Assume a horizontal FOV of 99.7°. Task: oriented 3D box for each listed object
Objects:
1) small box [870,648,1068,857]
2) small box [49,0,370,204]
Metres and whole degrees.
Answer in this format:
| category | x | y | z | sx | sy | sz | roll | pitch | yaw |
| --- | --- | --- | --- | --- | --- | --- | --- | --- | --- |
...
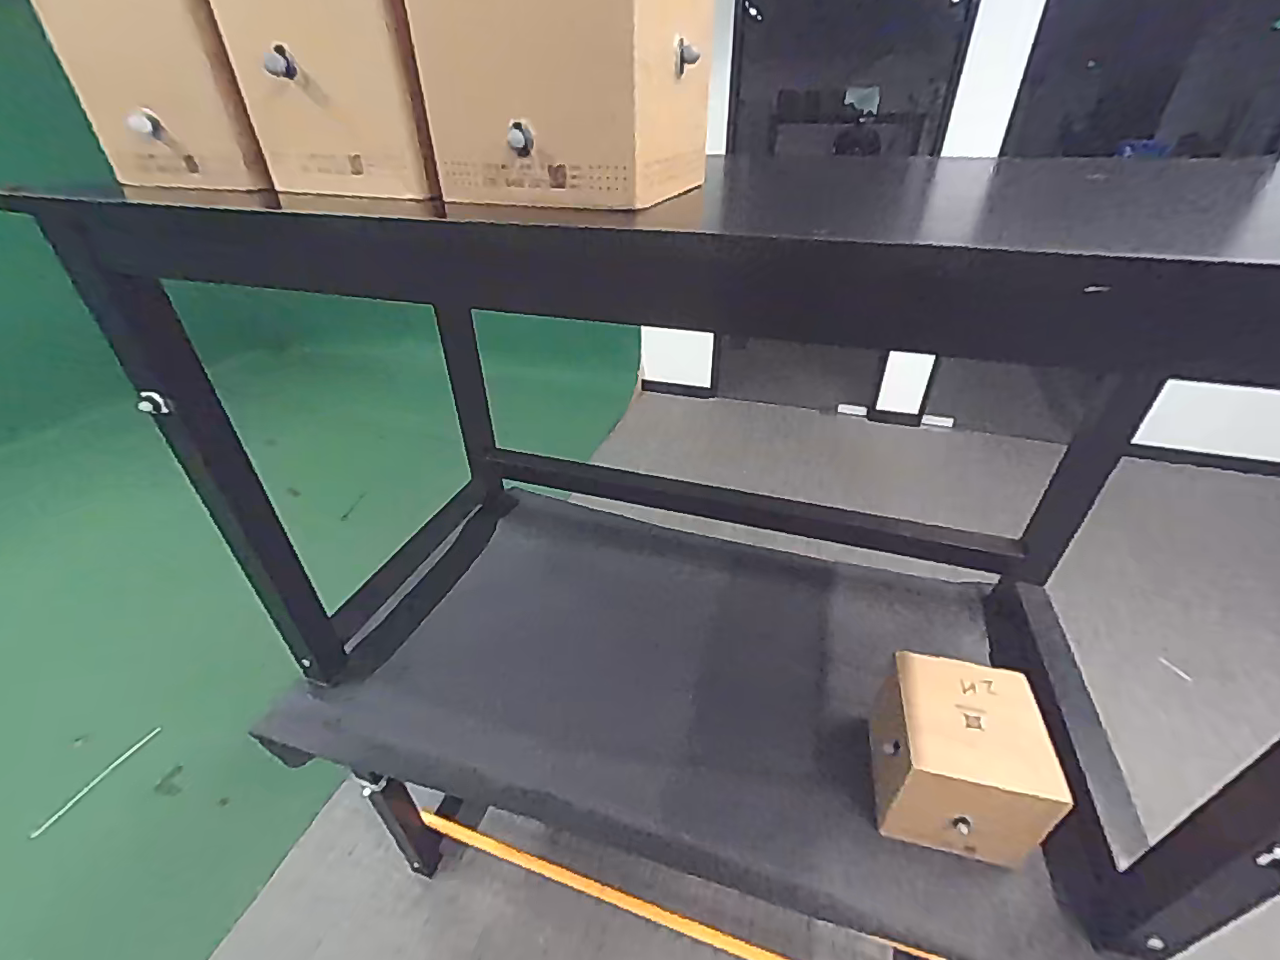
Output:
| category | x | y | z | sx | sy | sz | roll | pitch | yaw |
| --- | --- | --- | --- | --- | --- | --- | --- | --- | --- |
| small box | 0.417 | 0.361 | 0.722 | 0.168 | 0.176 | 0.179 | 8 | 35 | 12 |
| small box | -0.395 | -0.380 | 0.527 | 0.168 | 0.176 | 0.179 | 10 | 37 | 14 |
